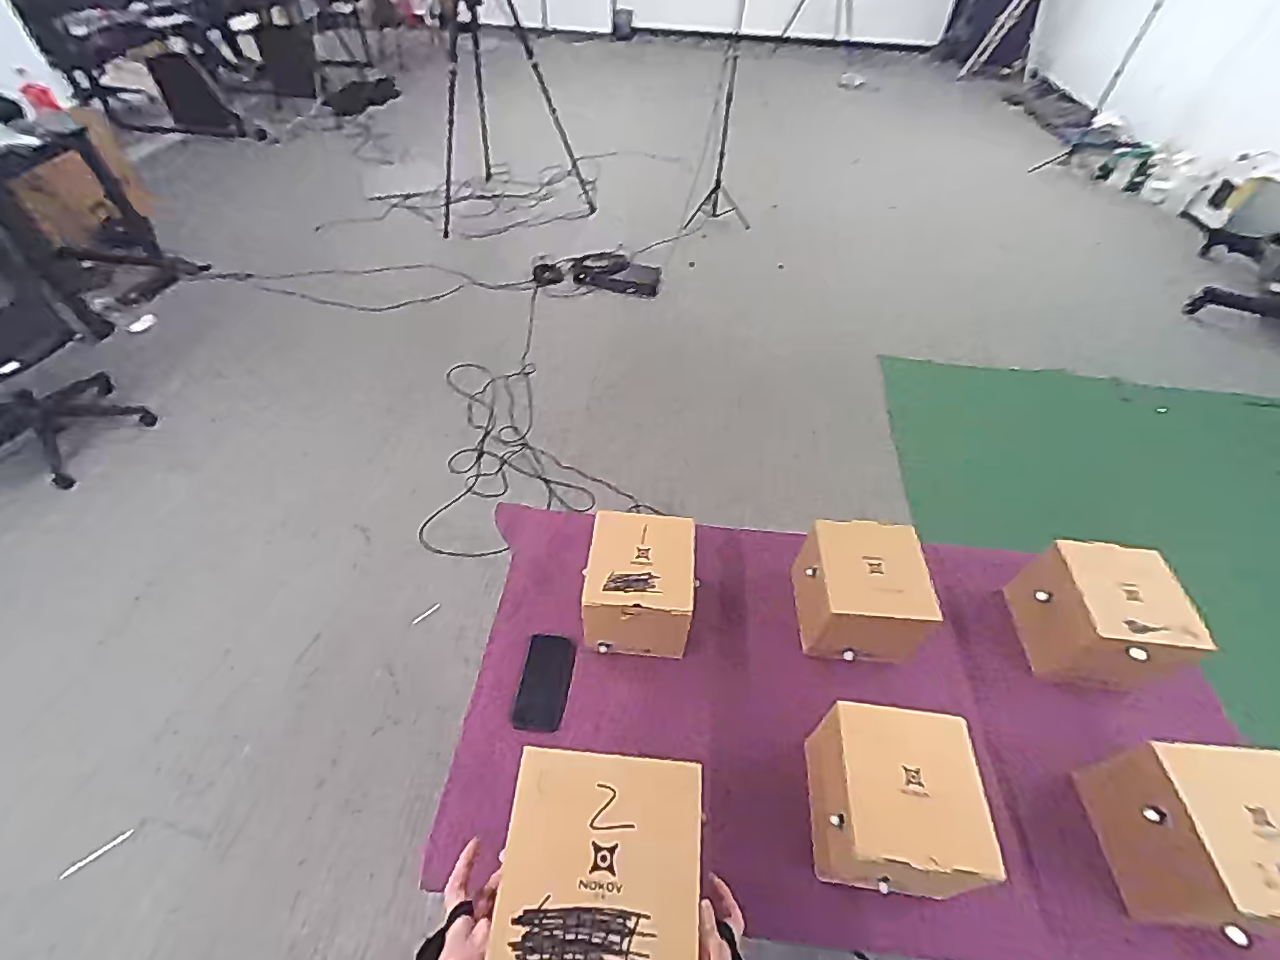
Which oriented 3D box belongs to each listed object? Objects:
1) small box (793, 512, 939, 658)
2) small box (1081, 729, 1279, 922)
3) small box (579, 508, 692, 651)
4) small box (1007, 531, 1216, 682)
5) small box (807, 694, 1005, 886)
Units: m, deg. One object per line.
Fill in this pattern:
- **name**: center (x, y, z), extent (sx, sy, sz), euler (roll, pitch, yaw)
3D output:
- **small box**: center (0.363, 0.178, 0.910), extent (0.168, 0.176, 0.179), euler (4, 50, 3)
- **small box**: center (0.720, 0.439, 0.686), extent (0.168, 0.176, 0.179), euler (3, 50, 3)
- **small box**: center (-0.002, 0.169, 0.905), extent (0.168, 0.176, 0.179), euler (4, 49, 2)
- **small box**: center (0.750, 0.208, 0.891), extent (0.168, 0.176, 0.179), euler (5, 49, 4)
- **small box**: center (0.325, 0.407, 0.709), extent (0.168, 0.176, 0.179), euler (6, 49, 3)
